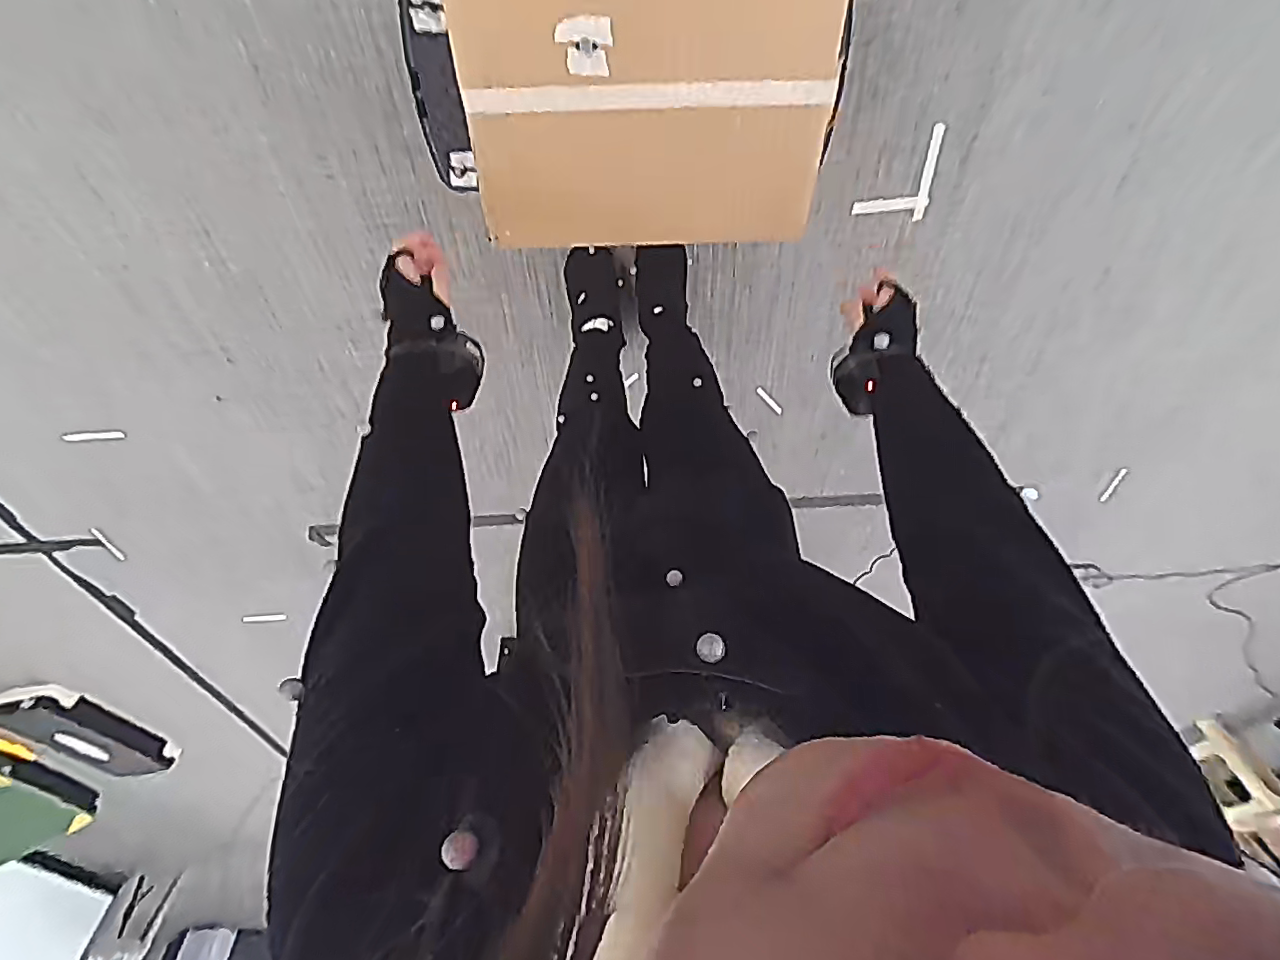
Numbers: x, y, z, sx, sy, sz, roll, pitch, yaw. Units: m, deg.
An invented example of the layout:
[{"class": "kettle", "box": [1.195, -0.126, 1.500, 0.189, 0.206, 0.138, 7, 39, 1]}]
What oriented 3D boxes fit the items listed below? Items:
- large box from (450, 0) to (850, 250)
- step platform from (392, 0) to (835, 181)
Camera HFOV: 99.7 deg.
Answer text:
[{"class": "large box", "box": [0.010, -0.512, 0.695, 0.408, 0.320, 0.320, -2, 130, -1]}, {"class": "step platform", "box": [-0.032, -0.646, 0.893, 0.684, 0.204, 0.286, 2, 131, -4]}]
